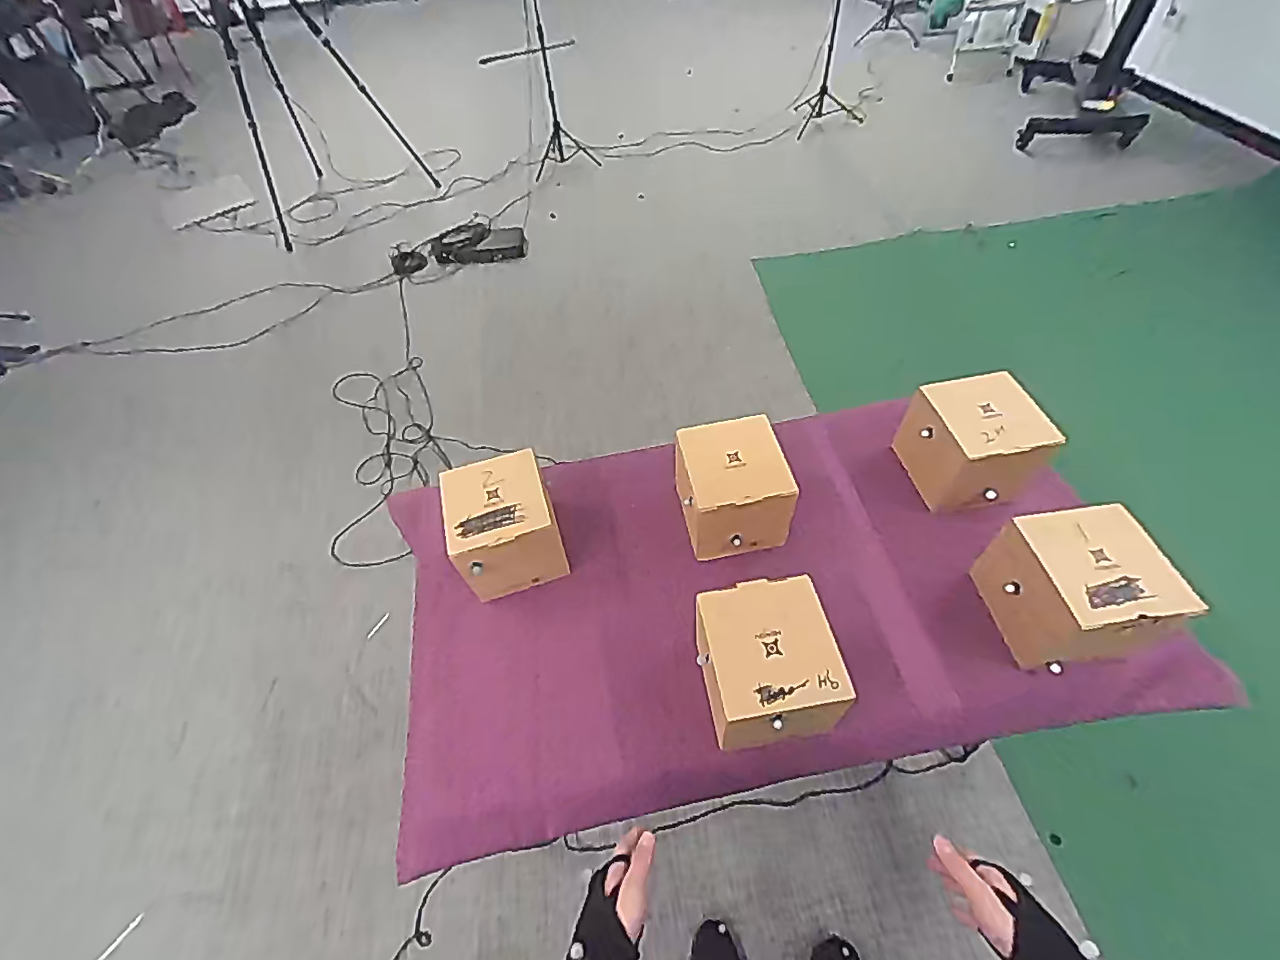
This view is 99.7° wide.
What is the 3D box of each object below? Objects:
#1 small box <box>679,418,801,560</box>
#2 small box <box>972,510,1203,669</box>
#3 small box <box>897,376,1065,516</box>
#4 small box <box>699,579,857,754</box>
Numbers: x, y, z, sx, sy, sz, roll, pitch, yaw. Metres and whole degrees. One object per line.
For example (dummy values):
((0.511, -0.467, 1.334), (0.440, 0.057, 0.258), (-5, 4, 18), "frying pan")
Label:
((0.165, 0.019, 0.962), (0.168, 0.176, 0.179), (-10, 54, -3), "small box")
((0.641, 0.170, 0.804), (0.168, 0.176, 0.179), (-7, 51, 0), "small box")
((0.599, -0.059, 0.980), (0.168, 0.176, 0.179), (-10, 54, -1), "small box")
((0.180, 0.268, 0.772), (0.168, 0.176, 0.179), (-9, 51, -1), "small box")
